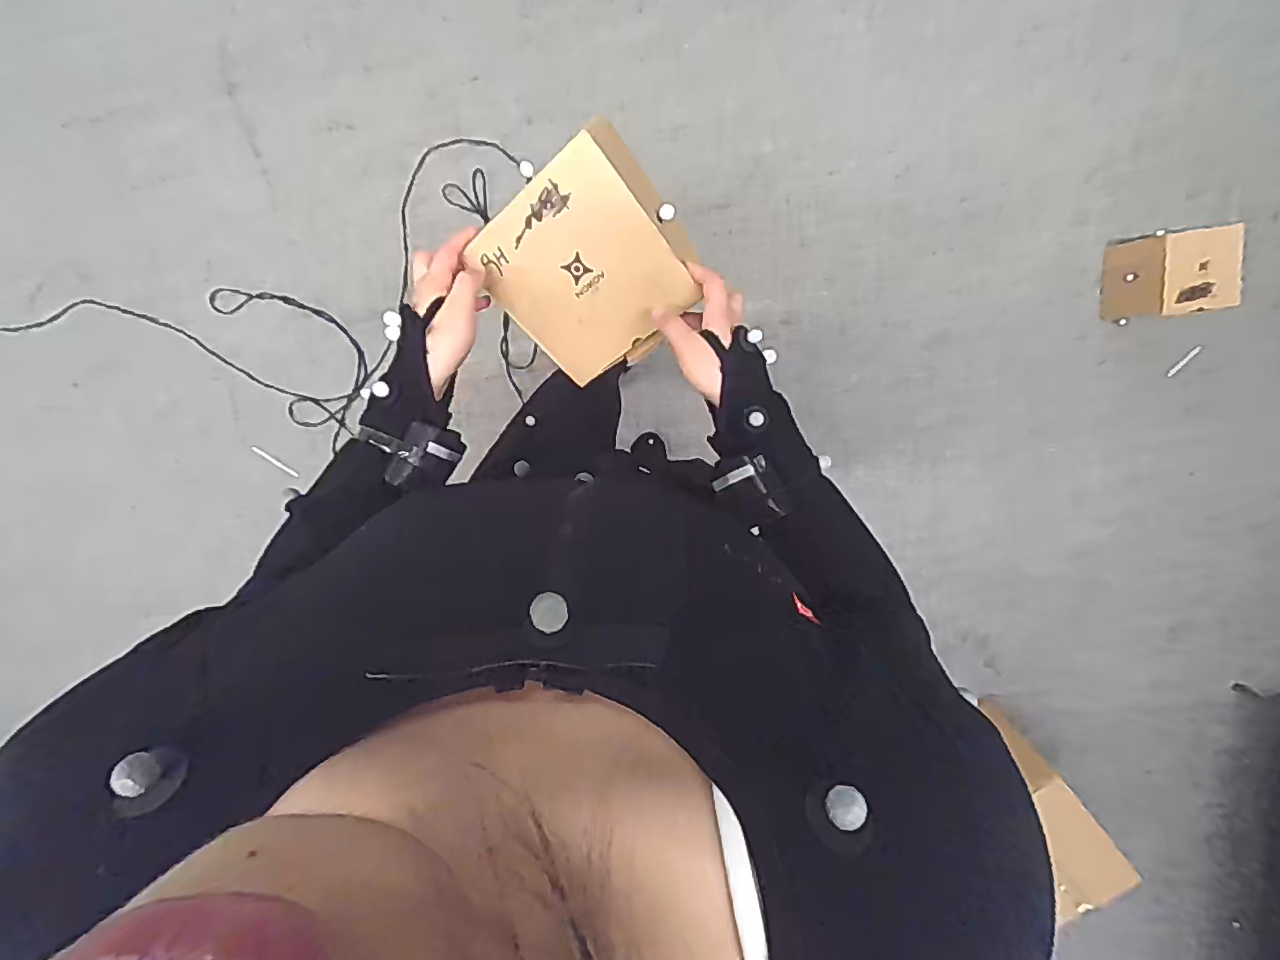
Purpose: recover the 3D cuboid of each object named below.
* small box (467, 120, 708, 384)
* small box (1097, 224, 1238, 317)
[{"bbox_3d":[-0.045,-0.244,0.577,0.168,0.176,0.179,-31,122,24],"label":"small box"},{"bbox_3d":[1.223,-0.482,1.269,0.168,0.176,0.179,-7,103,3],"label":"small box"}]
